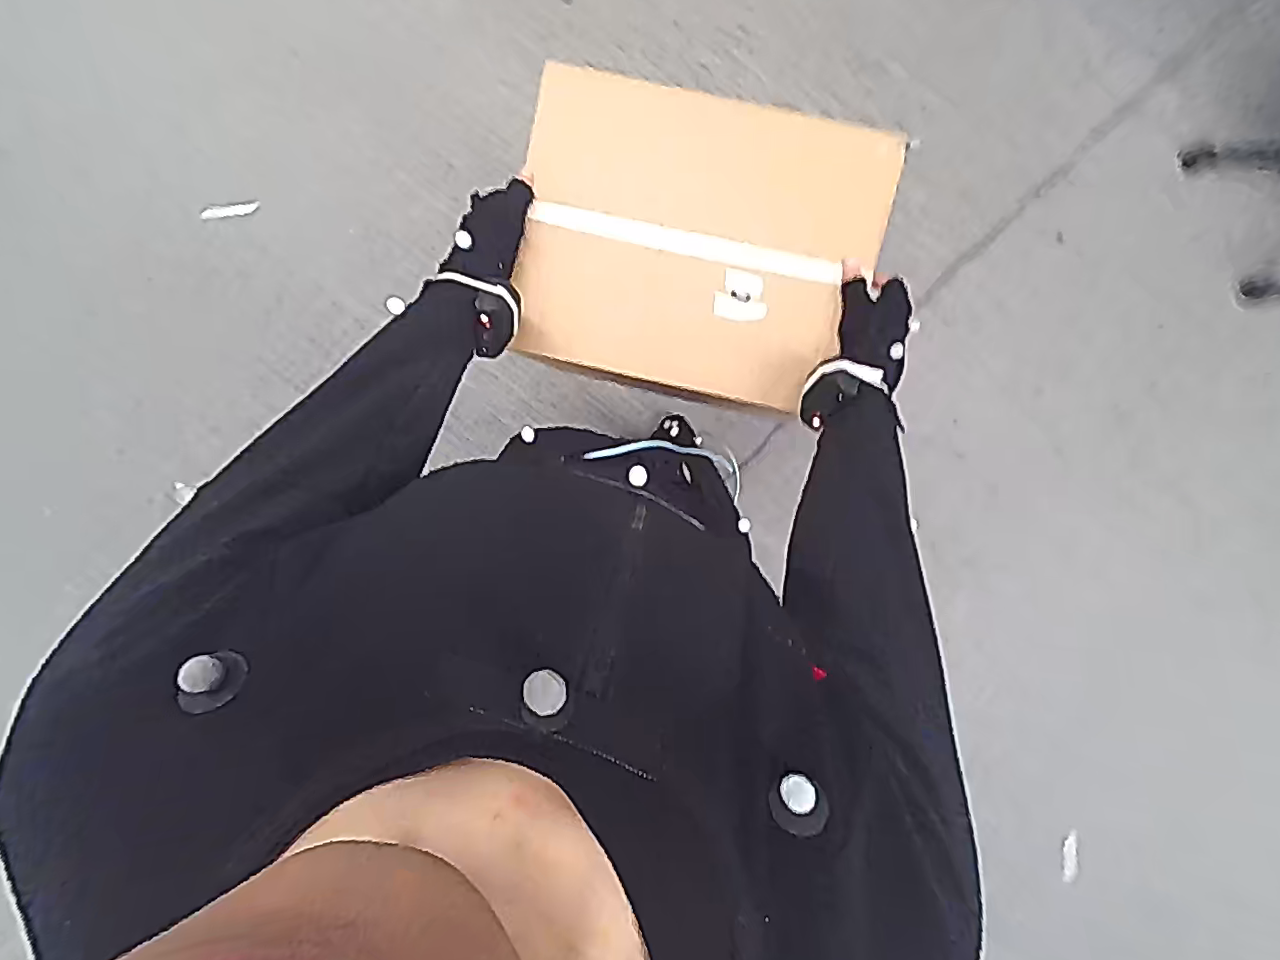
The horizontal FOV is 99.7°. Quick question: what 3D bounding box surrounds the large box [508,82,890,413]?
[{"bbox_3d":[0.065,-0.286,0.778,0.408,0.320,0.320,12,97,1],"label":"large box"}]
